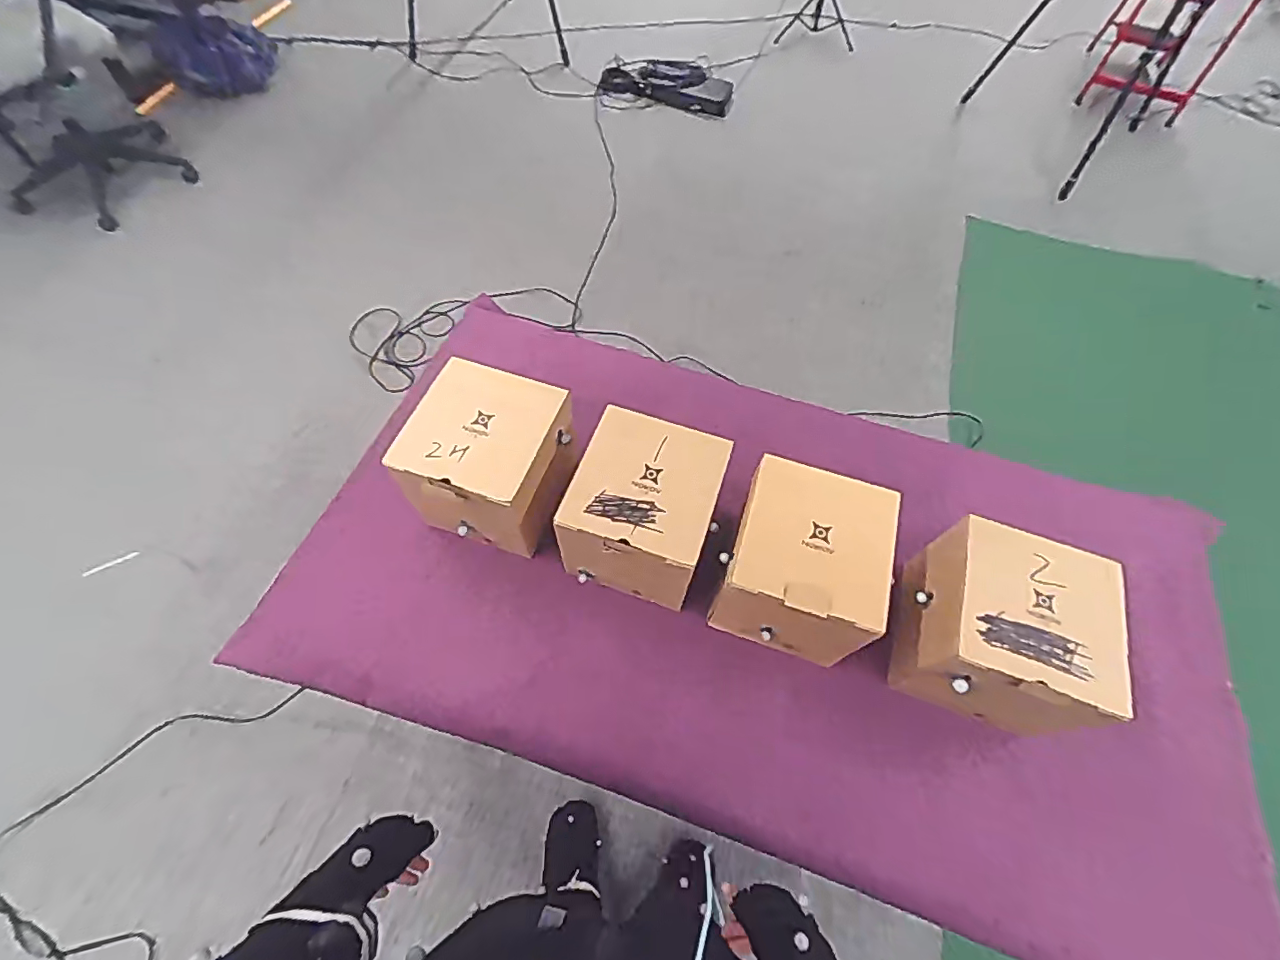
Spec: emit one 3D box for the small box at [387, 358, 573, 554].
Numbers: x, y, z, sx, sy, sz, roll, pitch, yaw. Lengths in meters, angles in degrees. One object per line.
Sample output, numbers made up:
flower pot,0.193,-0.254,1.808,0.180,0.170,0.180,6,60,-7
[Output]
small box,-0.196,-0.028,0.727,0.168,0.176,0.179,17,62,8
